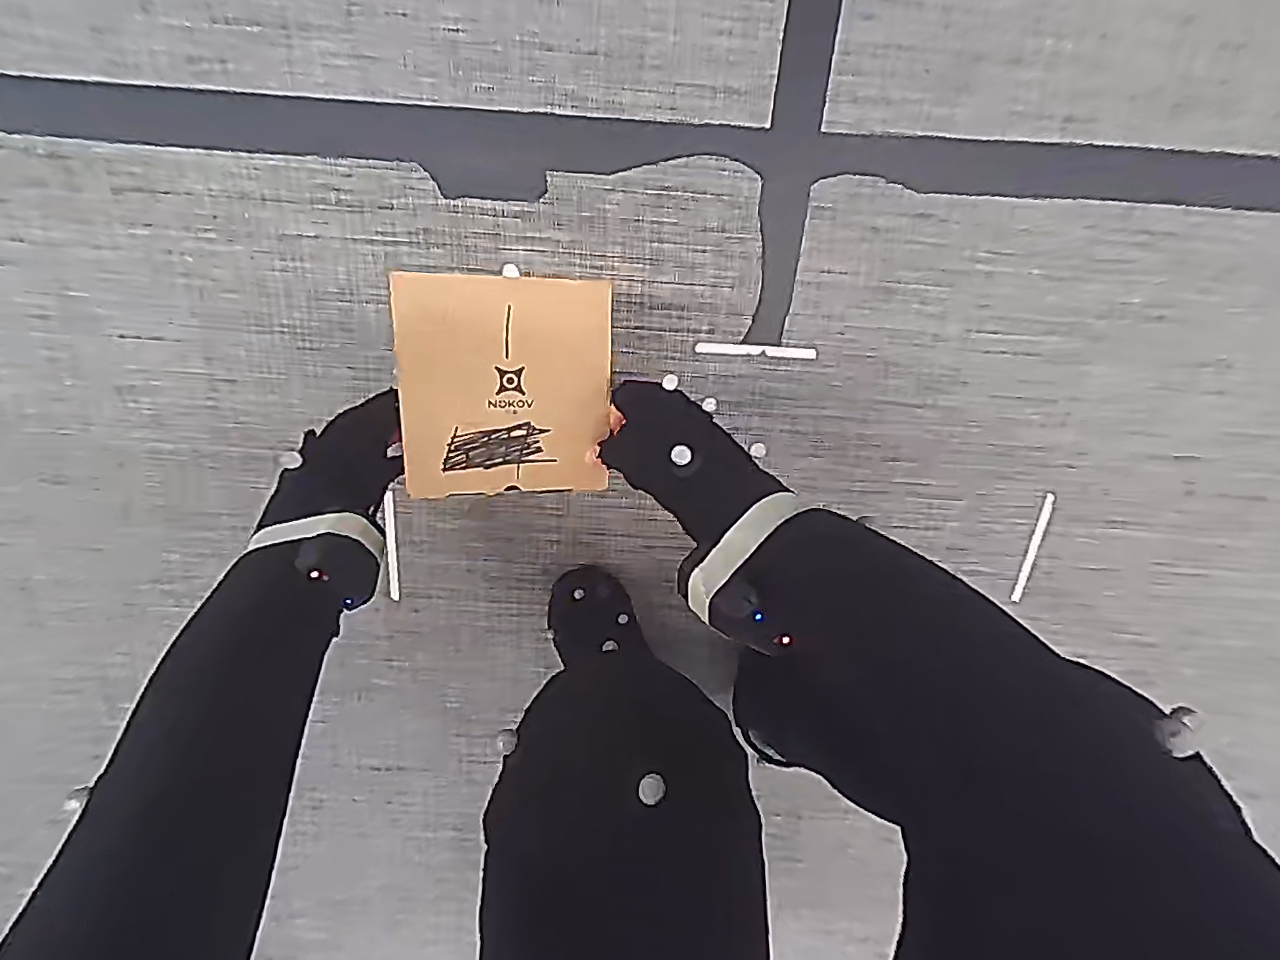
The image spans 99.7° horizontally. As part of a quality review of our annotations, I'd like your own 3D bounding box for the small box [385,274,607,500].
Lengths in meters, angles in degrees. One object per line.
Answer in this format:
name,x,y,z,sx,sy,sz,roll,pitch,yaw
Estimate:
small box,-0.127,-0.091,0.506,0.168,0.176,0.179,-2,107,-13
